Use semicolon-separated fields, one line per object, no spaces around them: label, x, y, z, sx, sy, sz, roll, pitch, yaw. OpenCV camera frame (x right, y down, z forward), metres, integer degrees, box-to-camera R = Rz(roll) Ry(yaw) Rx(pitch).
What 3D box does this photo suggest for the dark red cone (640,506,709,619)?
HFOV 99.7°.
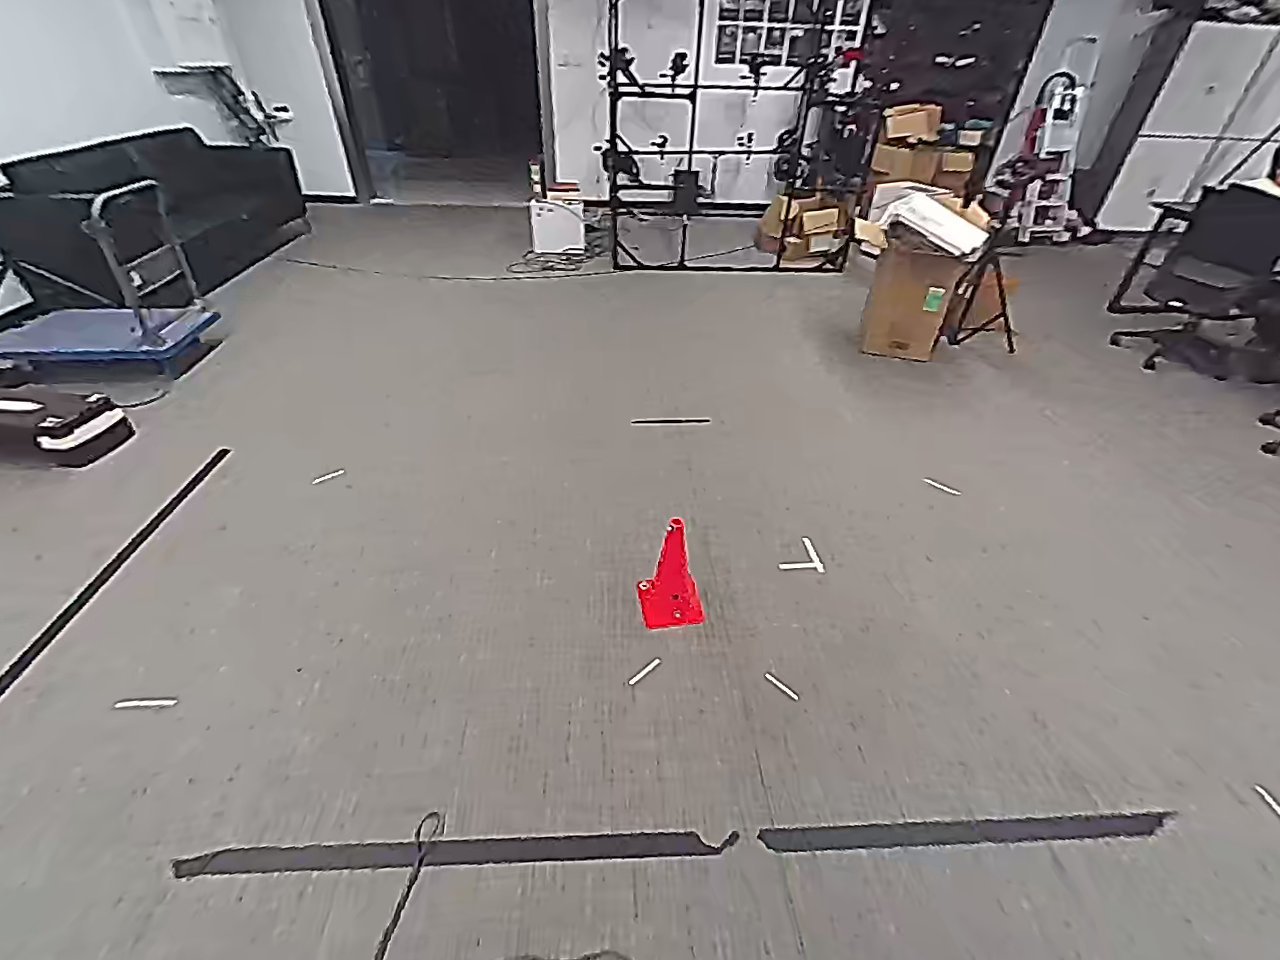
dark red cone;0.114;0.237;1.651;0.202;0.394;0.201;-5;39;-9
